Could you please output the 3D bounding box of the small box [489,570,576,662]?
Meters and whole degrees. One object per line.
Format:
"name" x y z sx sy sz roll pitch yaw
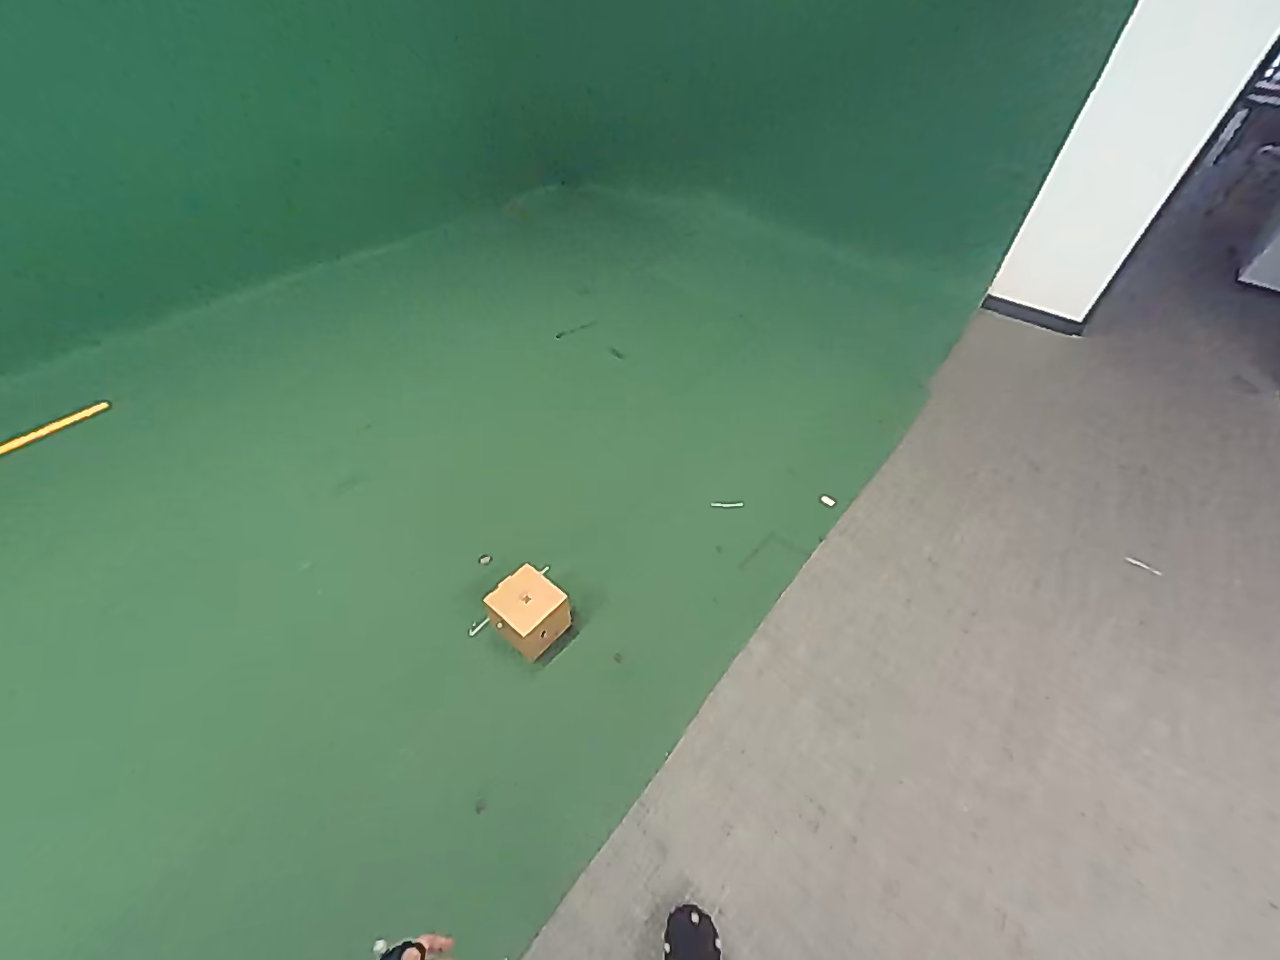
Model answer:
"small box" -0.305 0.403 1.574 0.179 0.176 0.168 31 55 27
